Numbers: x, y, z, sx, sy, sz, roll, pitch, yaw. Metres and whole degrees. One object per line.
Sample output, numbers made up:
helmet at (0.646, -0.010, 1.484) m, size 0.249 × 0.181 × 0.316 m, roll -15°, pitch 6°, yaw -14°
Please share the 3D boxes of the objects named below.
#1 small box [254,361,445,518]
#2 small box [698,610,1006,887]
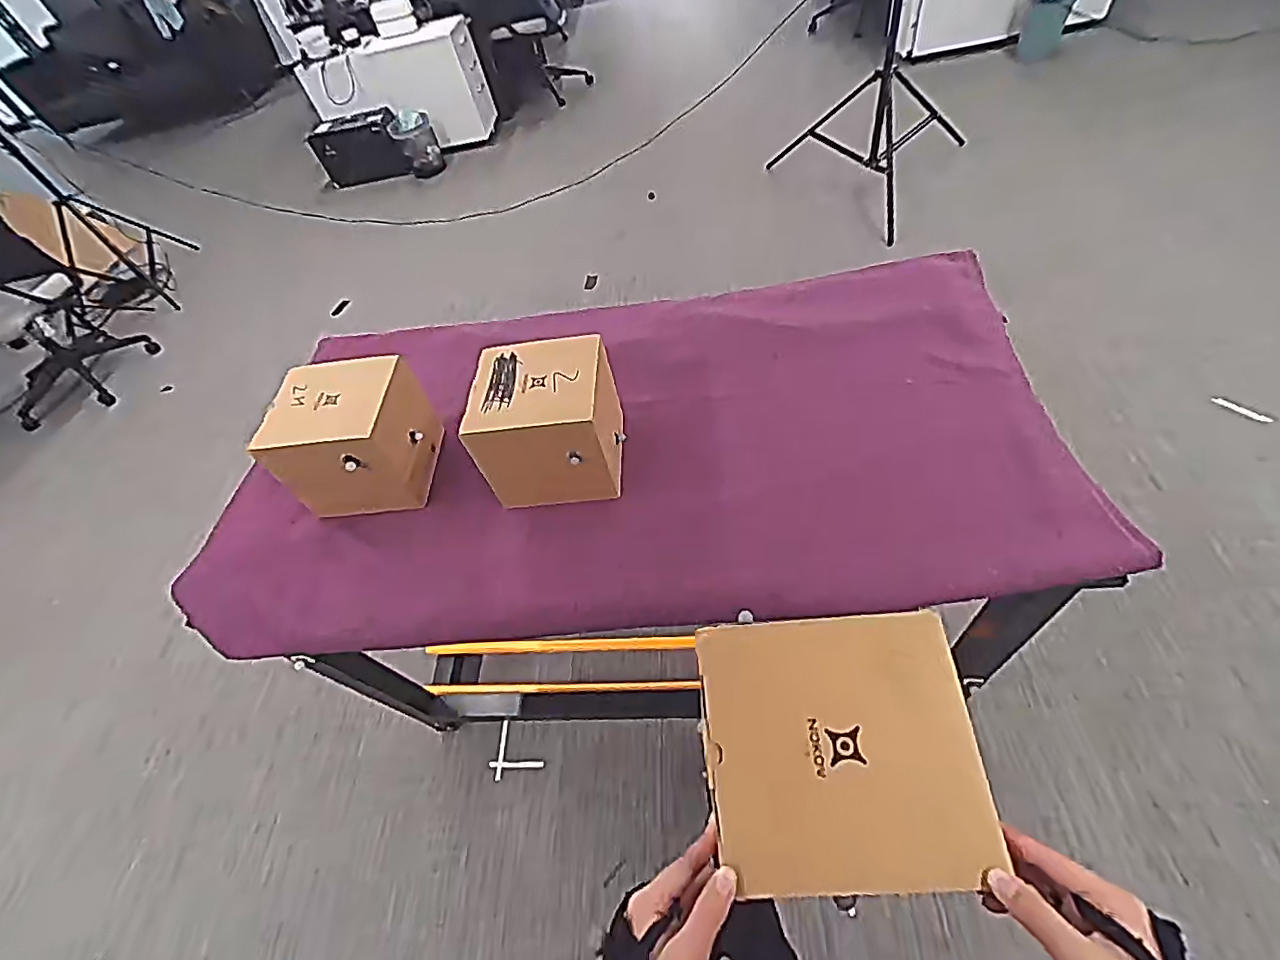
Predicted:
small box at (-0.423, -0.057, 0.827) m, size 0.179 × 0.176 × 0.168 m, roll -6°, pitch 52°, yaw 5°
small box at (0.145, 0.206, 0.439) m, size 0.179 × 0.176 × 0.168 m, roll -7°, pitch 66°, yaw 7°
